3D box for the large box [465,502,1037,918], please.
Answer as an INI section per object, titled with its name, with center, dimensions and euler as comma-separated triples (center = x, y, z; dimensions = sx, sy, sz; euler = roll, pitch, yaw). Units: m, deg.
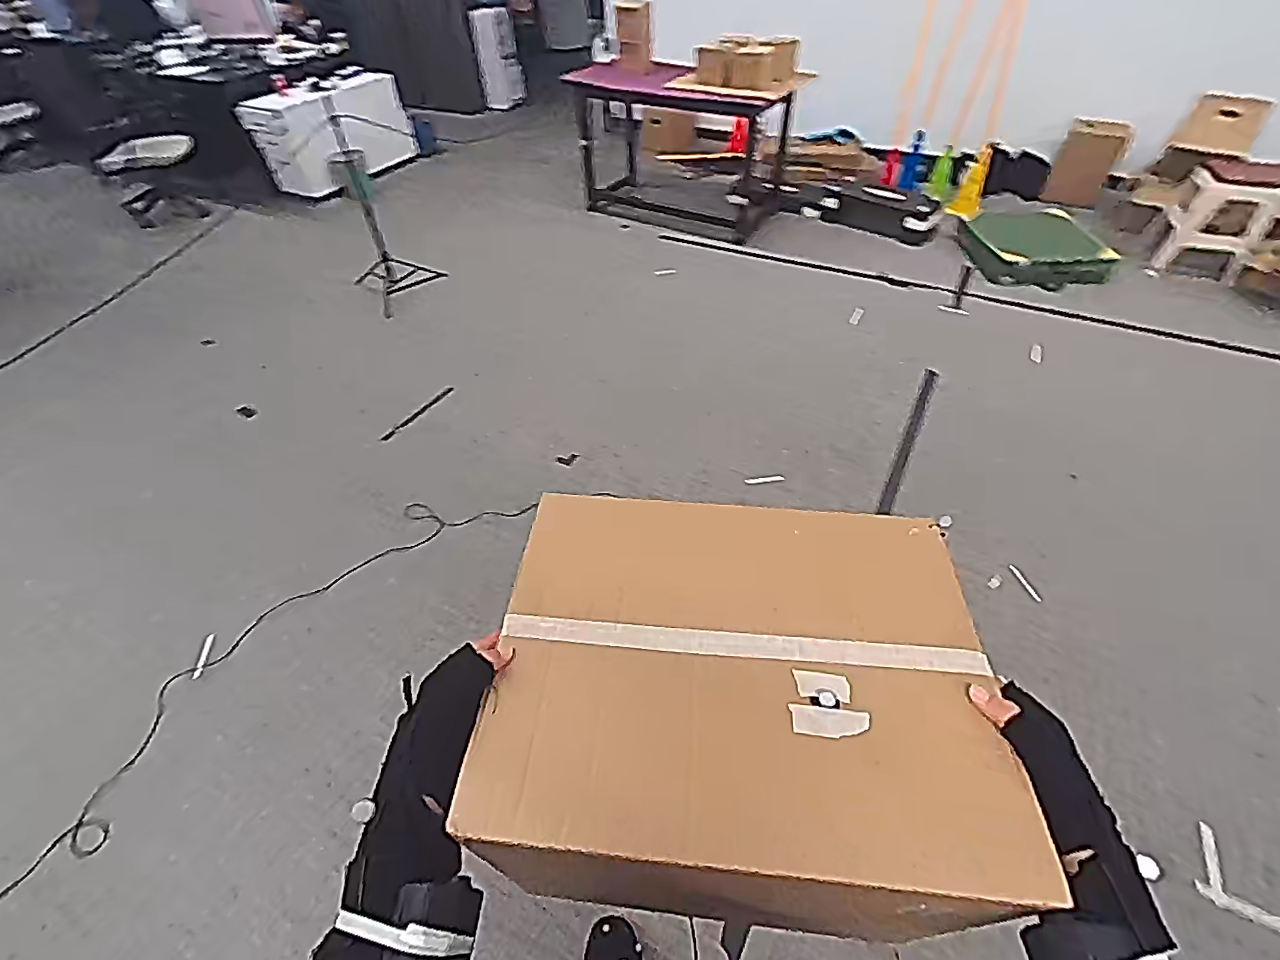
[large box]
center = 0.081, 0.245, 0.580
dimensions = 0.408, 0.320, 0.320
euler = 3, 48, 4
